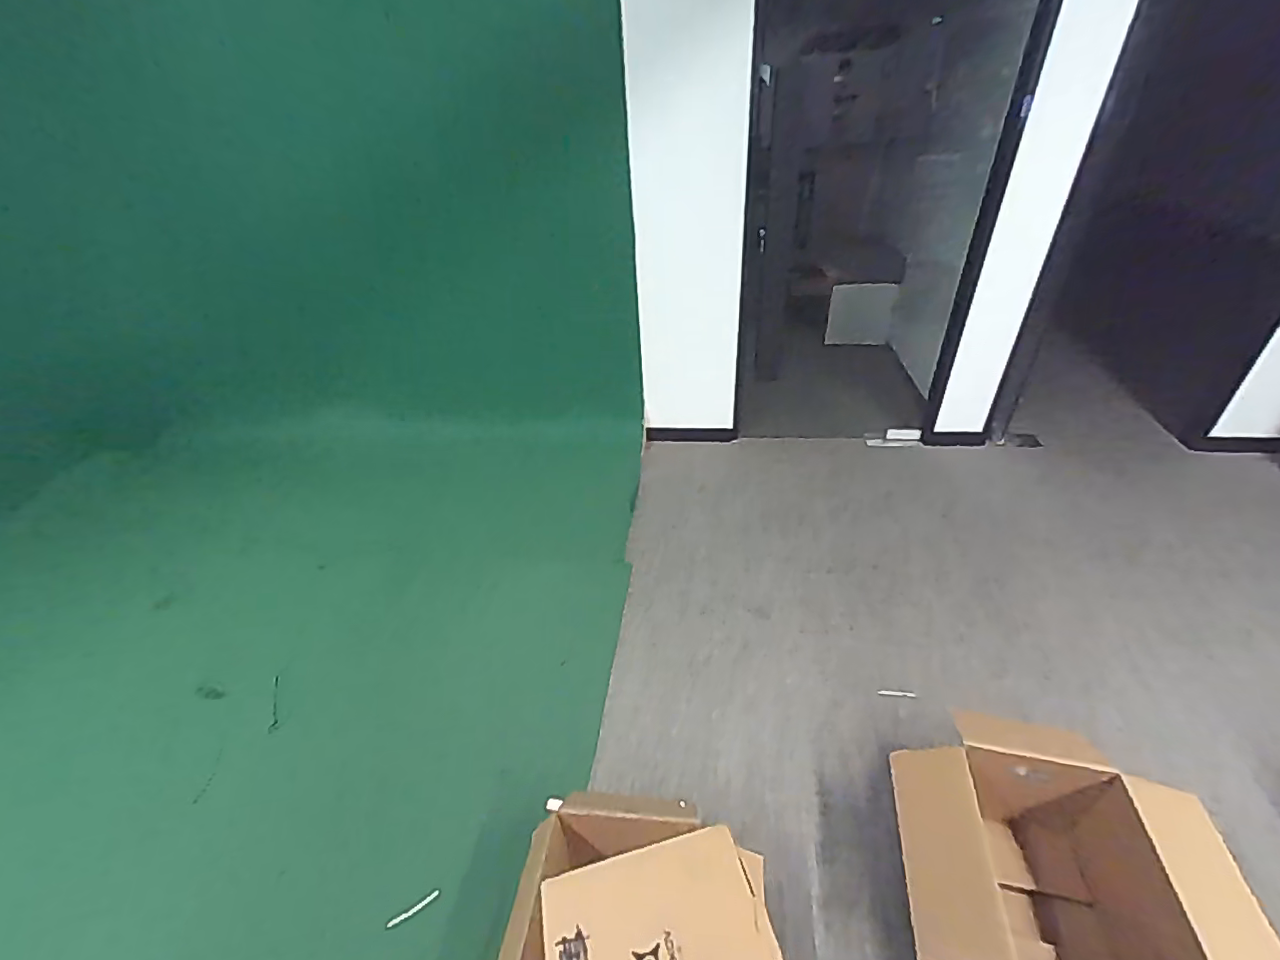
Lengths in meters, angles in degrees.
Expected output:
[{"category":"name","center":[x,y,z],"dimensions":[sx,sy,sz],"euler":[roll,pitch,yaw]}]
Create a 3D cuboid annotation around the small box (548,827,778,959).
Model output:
[{"category":"small box","center":[0.023,0.440,0.457],"dimensions":[0.179,0.176,0.168],"euler":[-10,29,-8]}]
